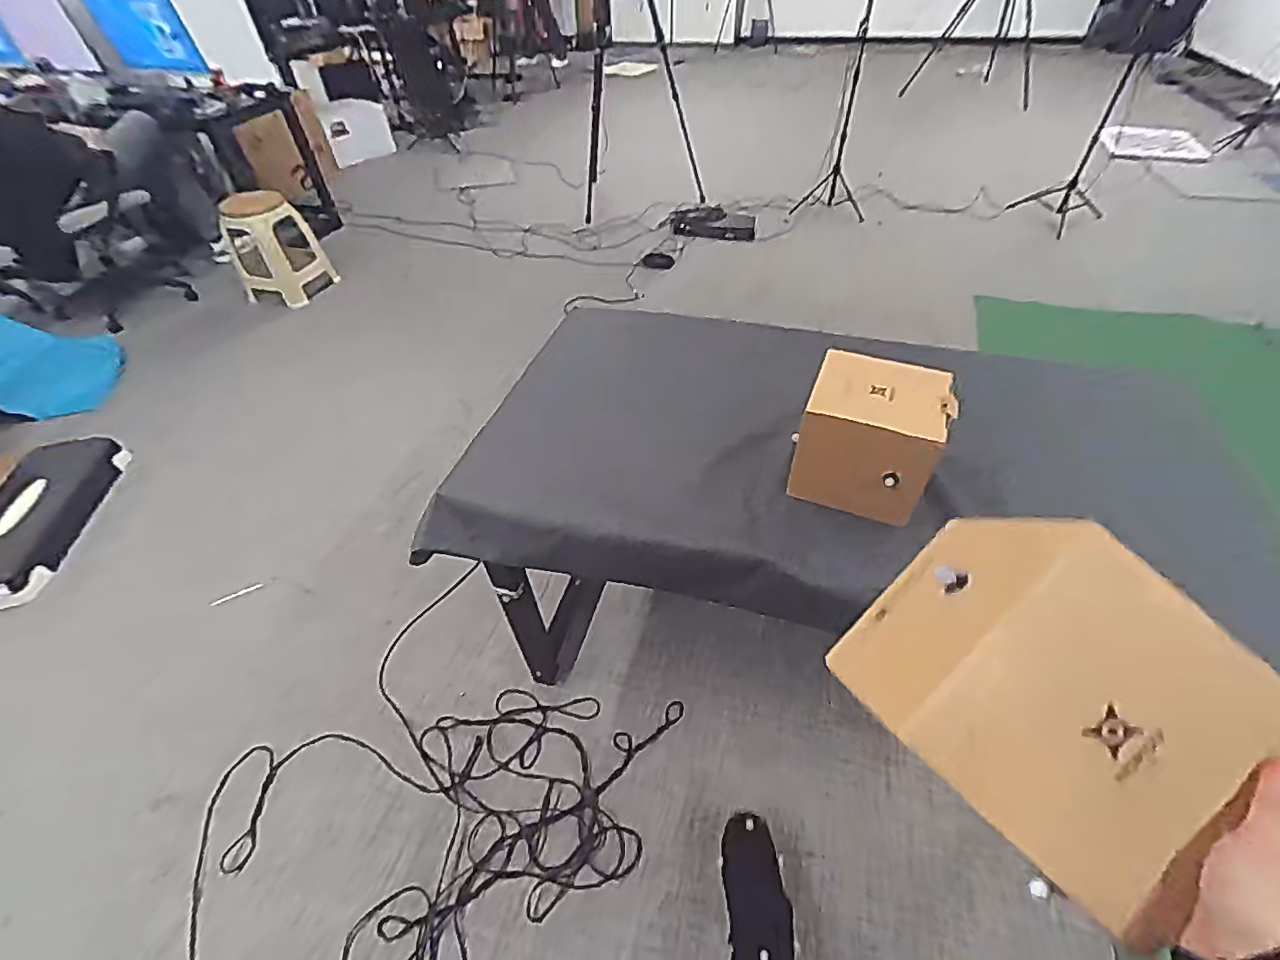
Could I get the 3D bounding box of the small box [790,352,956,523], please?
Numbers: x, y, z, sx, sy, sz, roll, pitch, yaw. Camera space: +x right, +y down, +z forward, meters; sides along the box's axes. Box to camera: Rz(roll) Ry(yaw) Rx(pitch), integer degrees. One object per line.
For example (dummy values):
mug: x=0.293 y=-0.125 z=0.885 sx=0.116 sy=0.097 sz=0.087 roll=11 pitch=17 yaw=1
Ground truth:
small box: x=0.336 y=-0.060 z=0.794 sx=0.179 sy=0.176 sz=0.168 roll=16 pitch=48 yaw=19
